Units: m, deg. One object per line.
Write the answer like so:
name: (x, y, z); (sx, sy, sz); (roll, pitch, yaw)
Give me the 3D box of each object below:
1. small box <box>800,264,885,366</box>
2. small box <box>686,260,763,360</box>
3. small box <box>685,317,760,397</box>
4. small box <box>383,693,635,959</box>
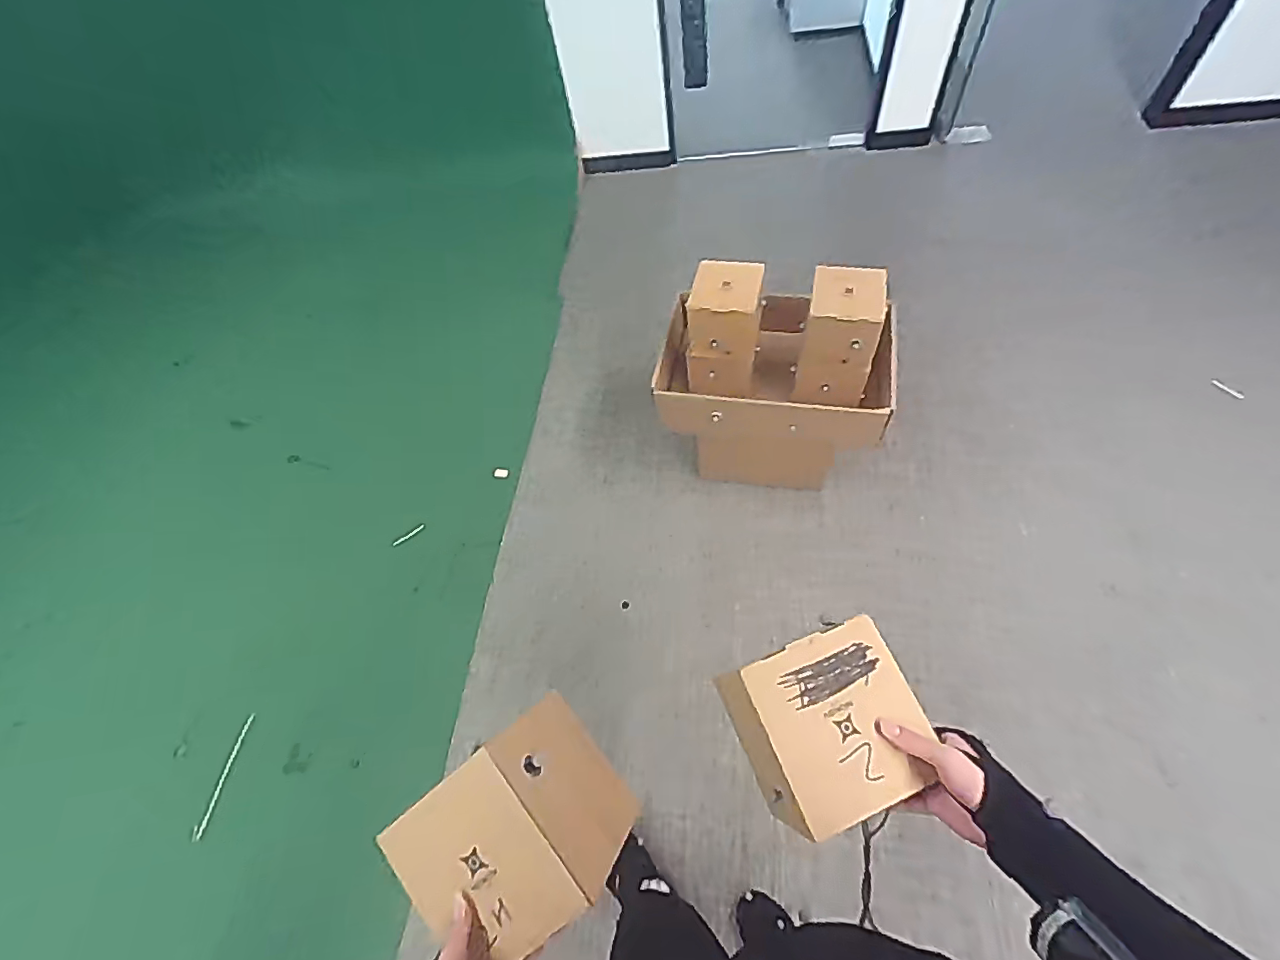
small box: (0.493, -0.401, 1.330); (0.168, 0.176, 0.179); (9, 60, 13)
small box: (0.220, -0.439, 1.402); (0.168, 0.176, 0.179); (9, 61, 14)
small box: (0.238, -0.354, 1.539); (0.179, 0.176, 0.168); (9, 61, 16)
small box: (-0.134, 0.365, 0.604); (0.168, 0.176, 0.179); (-42, 78, 11)
